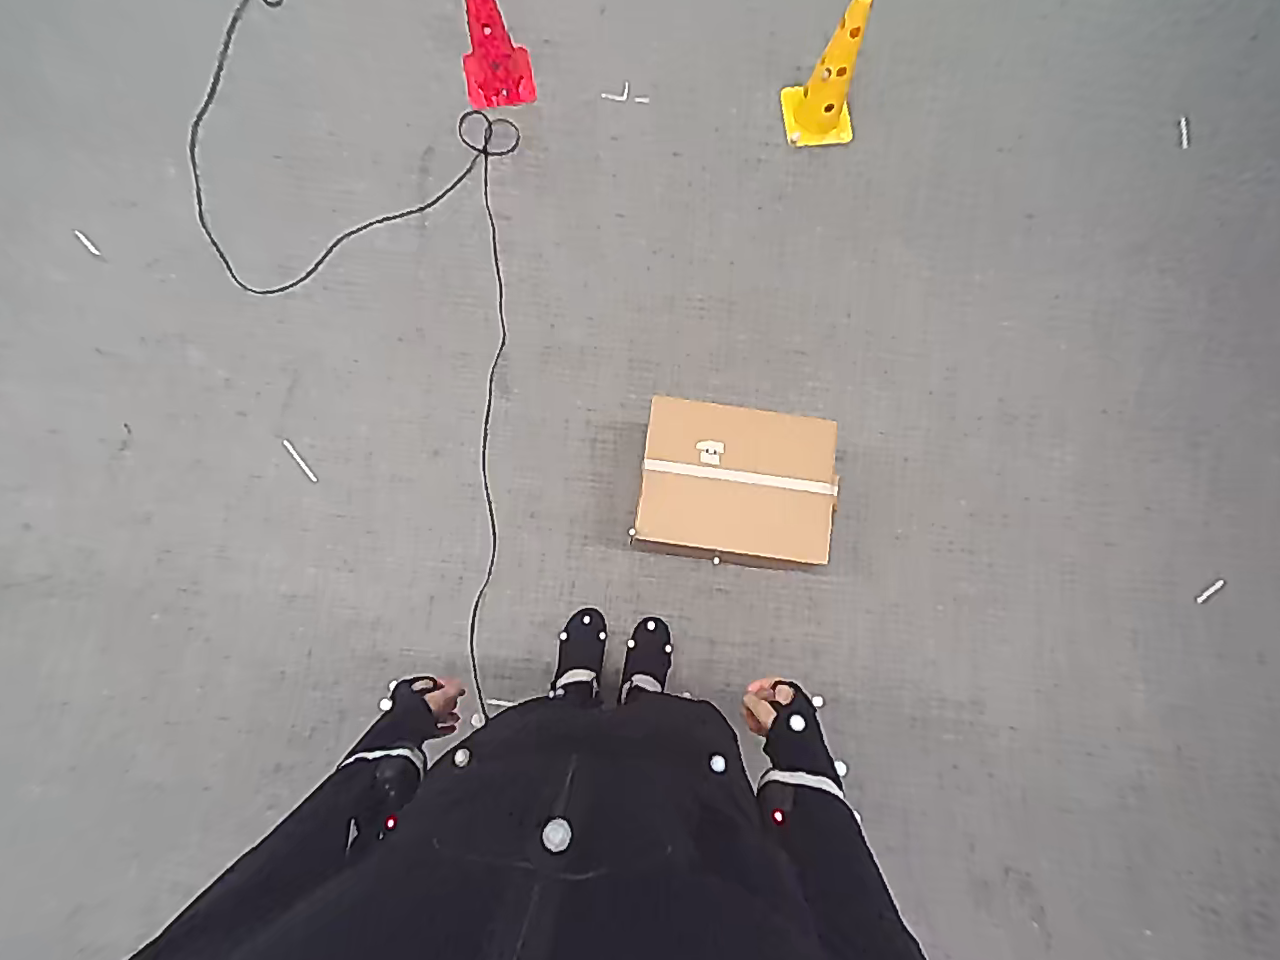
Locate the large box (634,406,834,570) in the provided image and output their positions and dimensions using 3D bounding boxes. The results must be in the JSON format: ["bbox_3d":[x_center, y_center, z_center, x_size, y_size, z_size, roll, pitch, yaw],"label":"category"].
[{"bbox_3d":[0.205,0.039,1.286,0.408,0.320,0.320,8,78,1],"label":"large box"}]
